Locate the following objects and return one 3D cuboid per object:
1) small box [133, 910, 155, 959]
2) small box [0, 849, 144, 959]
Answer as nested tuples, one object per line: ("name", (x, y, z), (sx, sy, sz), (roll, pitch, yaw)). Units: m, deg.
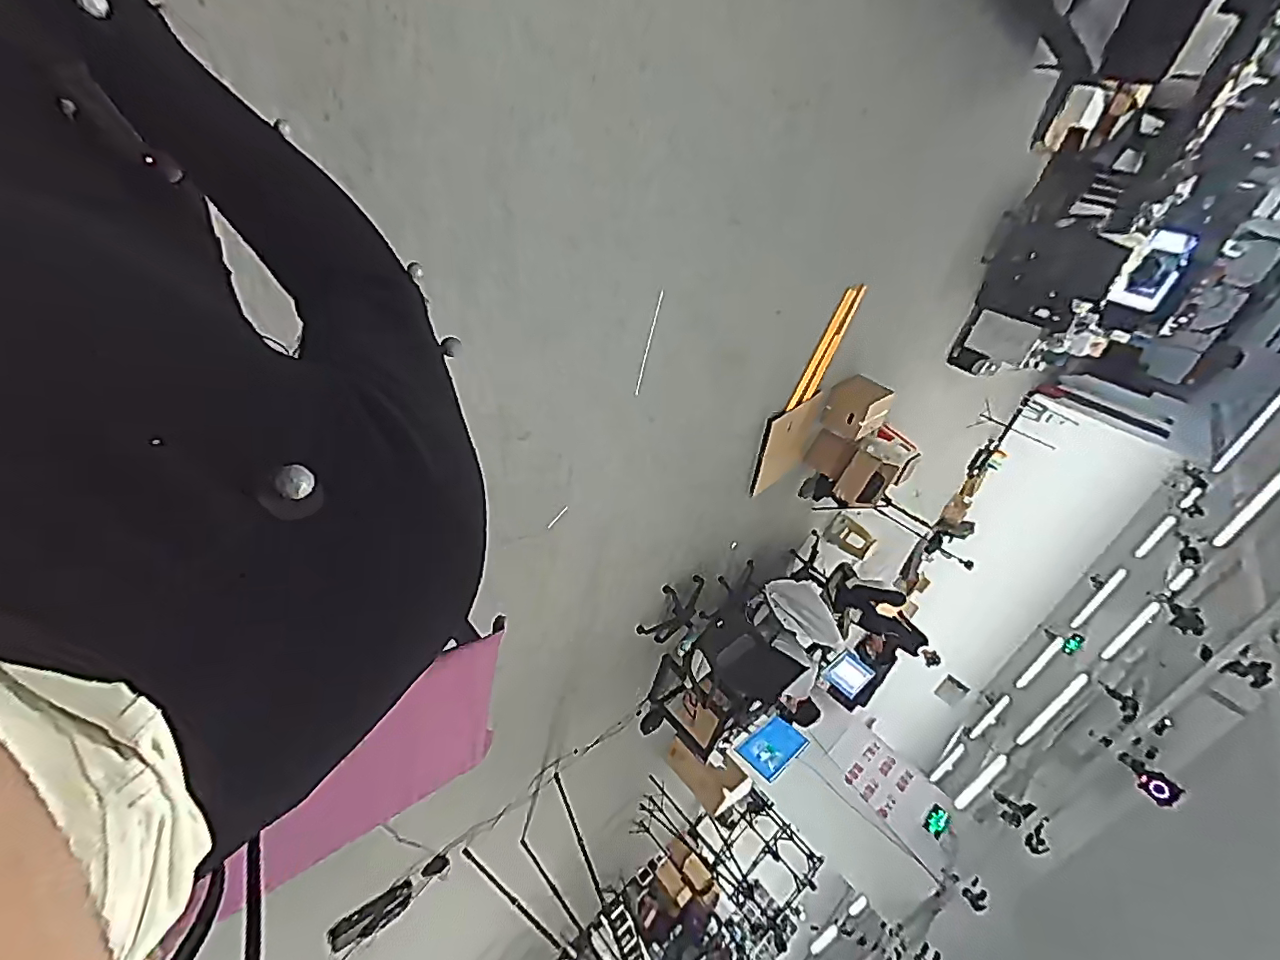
("small box", (-1.095, 1.023, 1.088), (0.168, 0.176, 0.179), (-15, 133, -43))
("small box", (-1.029, 0.815, 0.964), (0.179, 0.176, 0.168), (-15, 133, -44))
